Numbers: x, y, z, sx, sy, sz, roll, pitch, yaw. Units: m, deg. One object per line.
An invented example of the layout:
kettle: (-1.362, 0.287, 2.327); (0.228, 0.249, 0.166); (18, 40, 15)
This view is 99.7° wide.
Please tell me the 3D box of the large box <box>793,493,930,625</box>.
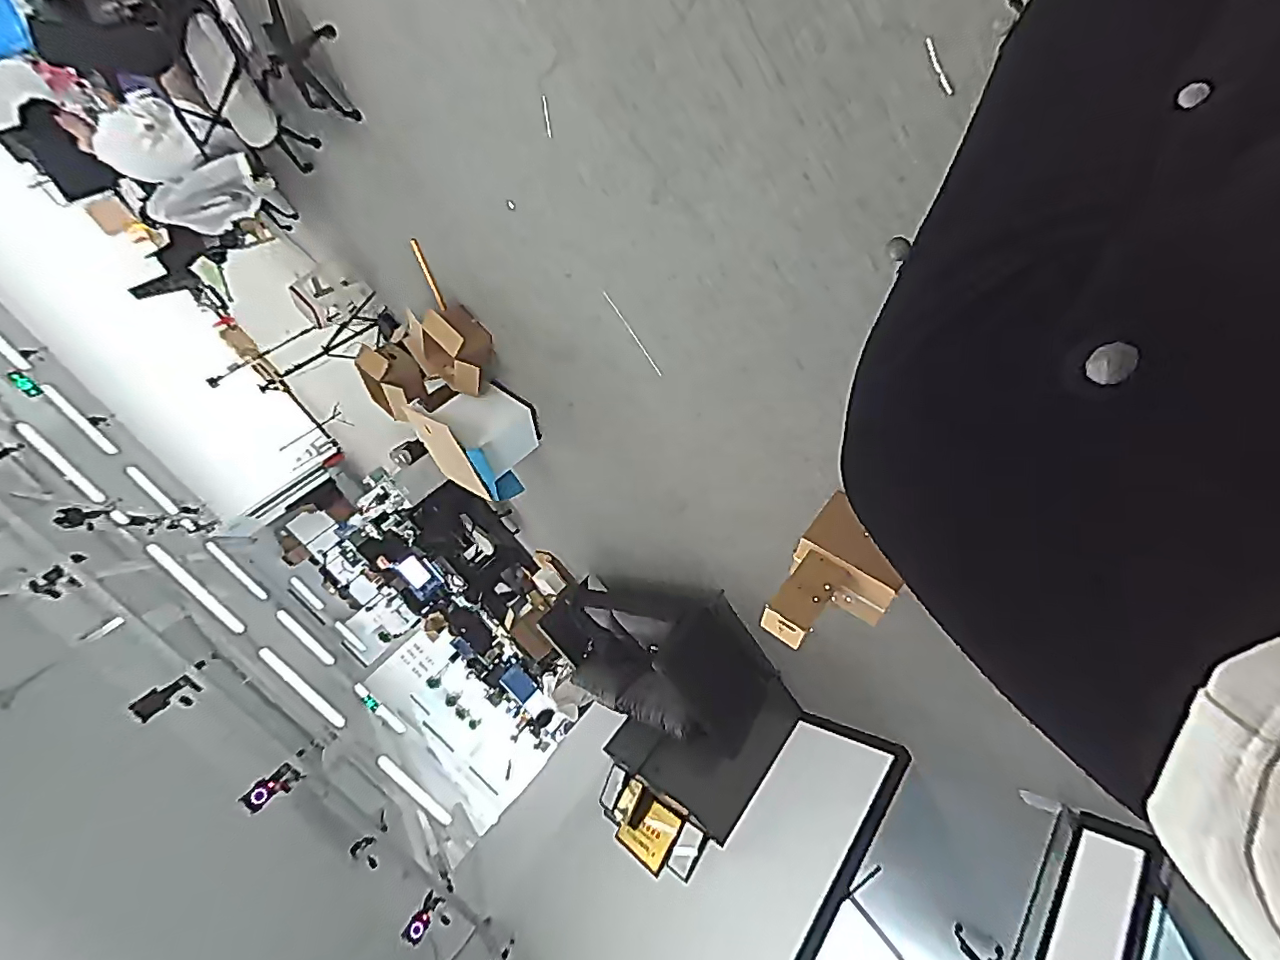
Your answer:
large box: (0.915, 0.324, 2.272); (0.408, 0.320, 0.320); (31, 150, 26)

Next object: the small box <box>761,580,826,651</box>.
small box: (0.594, 0.518, 2.087); (0.168, 0.176, 0.179); (32, 150, 25)
